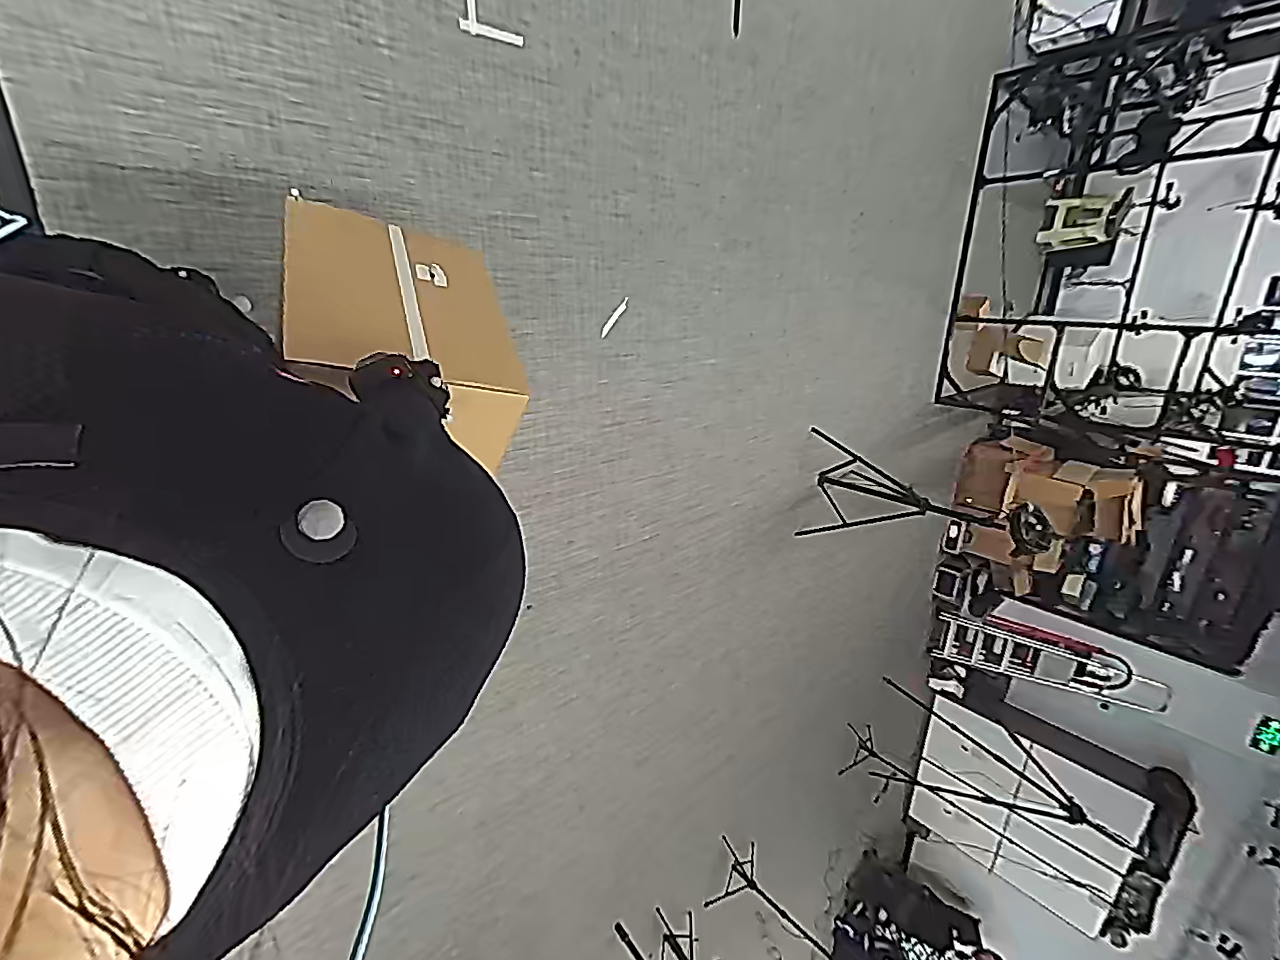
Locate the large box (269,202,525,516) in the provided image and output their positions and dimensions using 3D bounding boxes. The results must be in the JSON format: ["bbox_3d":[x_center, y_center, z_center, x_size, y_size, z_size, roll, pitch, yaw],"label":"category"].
[{"bbox_3d":[-0.439,-0.187,0.923,0.320,0.408,0.320,3,137,-38],"label":"large box"}]
